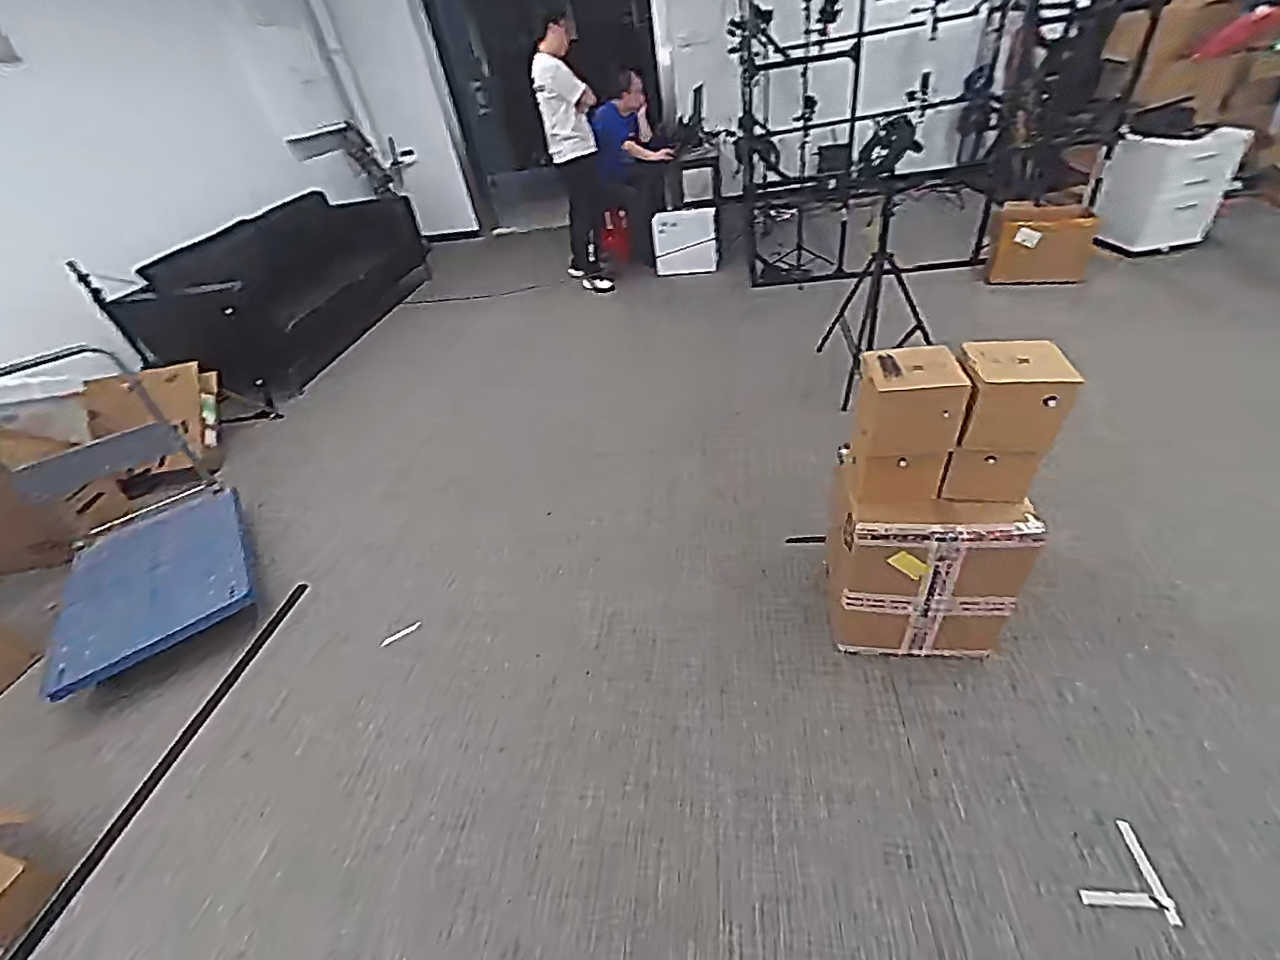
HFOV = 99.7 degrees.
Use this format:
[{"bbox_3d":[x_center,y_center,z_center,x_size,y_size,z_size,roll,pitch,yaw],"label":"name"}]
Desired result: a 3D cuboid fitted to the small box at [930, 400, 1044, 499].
[{"bbox_3d":[0.790,-0.070,1.257,0.179,0.176,0.168,3,42,14],"label":"small box"}]
